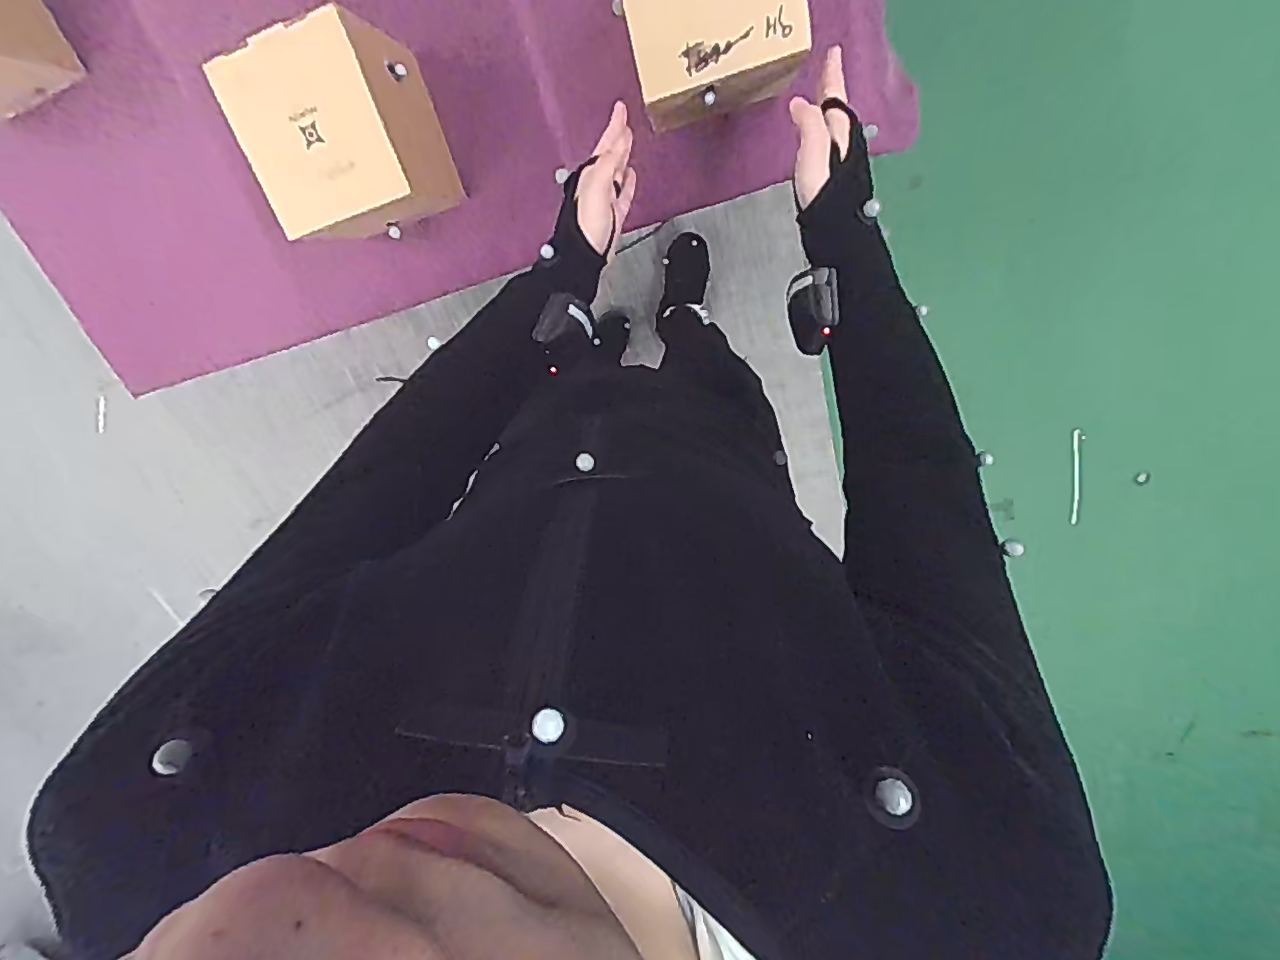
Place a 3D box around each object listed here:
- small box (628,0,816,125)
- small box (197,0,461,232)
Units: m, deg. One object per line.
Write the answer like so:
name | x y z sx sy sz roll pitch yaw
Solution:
small box | 0.071 -0.499 0.554 0.168 0.176 0.179 -11 113 10
small box | -0.339 -0.402 0.631 0.168 0.176 0.179 -13 113 11
